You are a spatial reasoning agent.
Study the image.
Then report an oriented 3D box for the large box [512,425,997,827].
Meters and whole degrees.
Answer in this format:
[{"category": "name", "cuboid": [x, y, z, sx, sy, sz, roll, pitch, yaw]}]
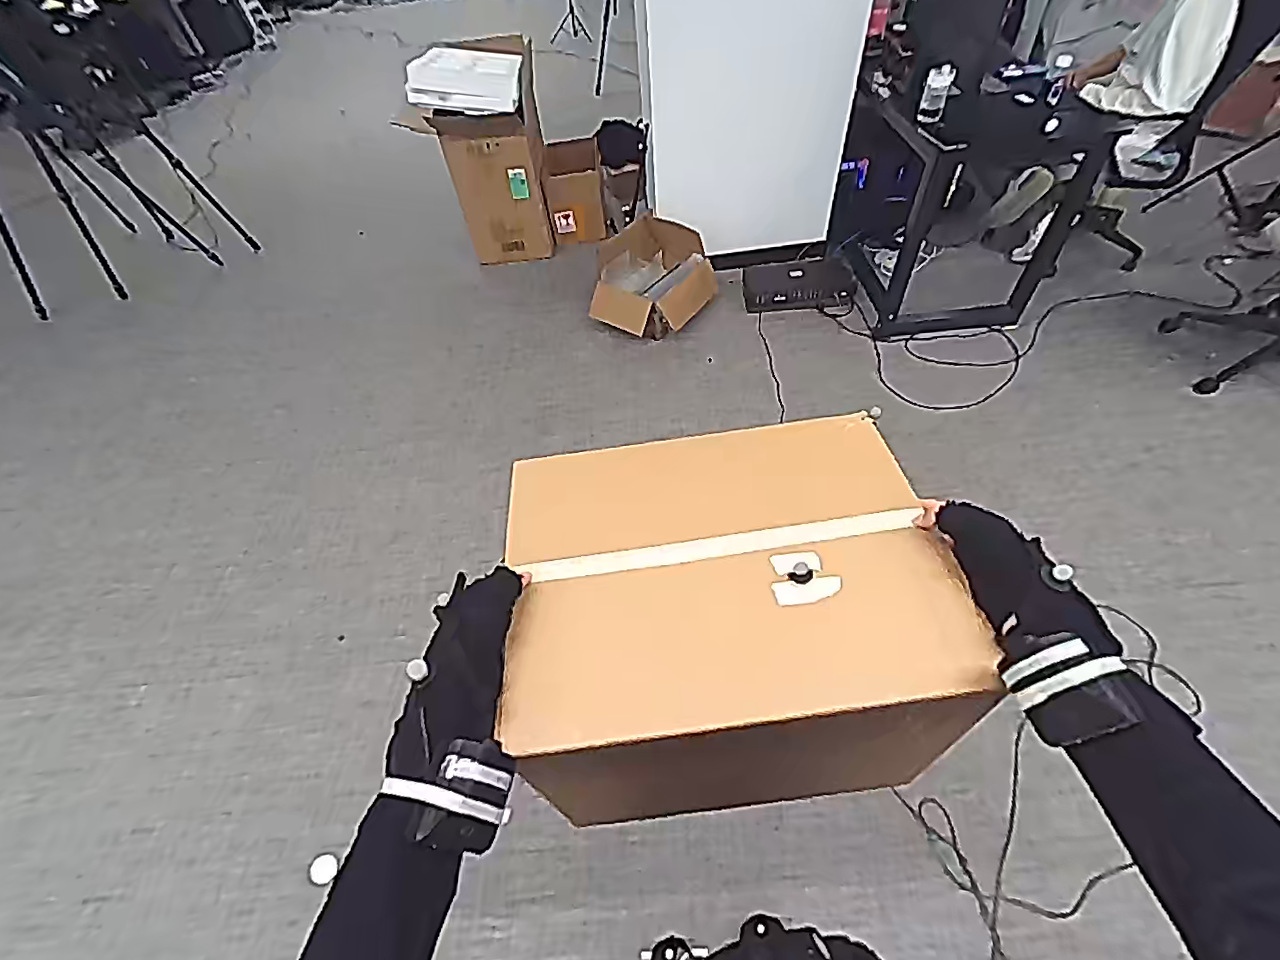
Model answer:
[{"category": "large box", "cuboid": [0.089, 0.176, 0.638, 0.408, 0.320, 0.320, -8, 48, 0]}]
